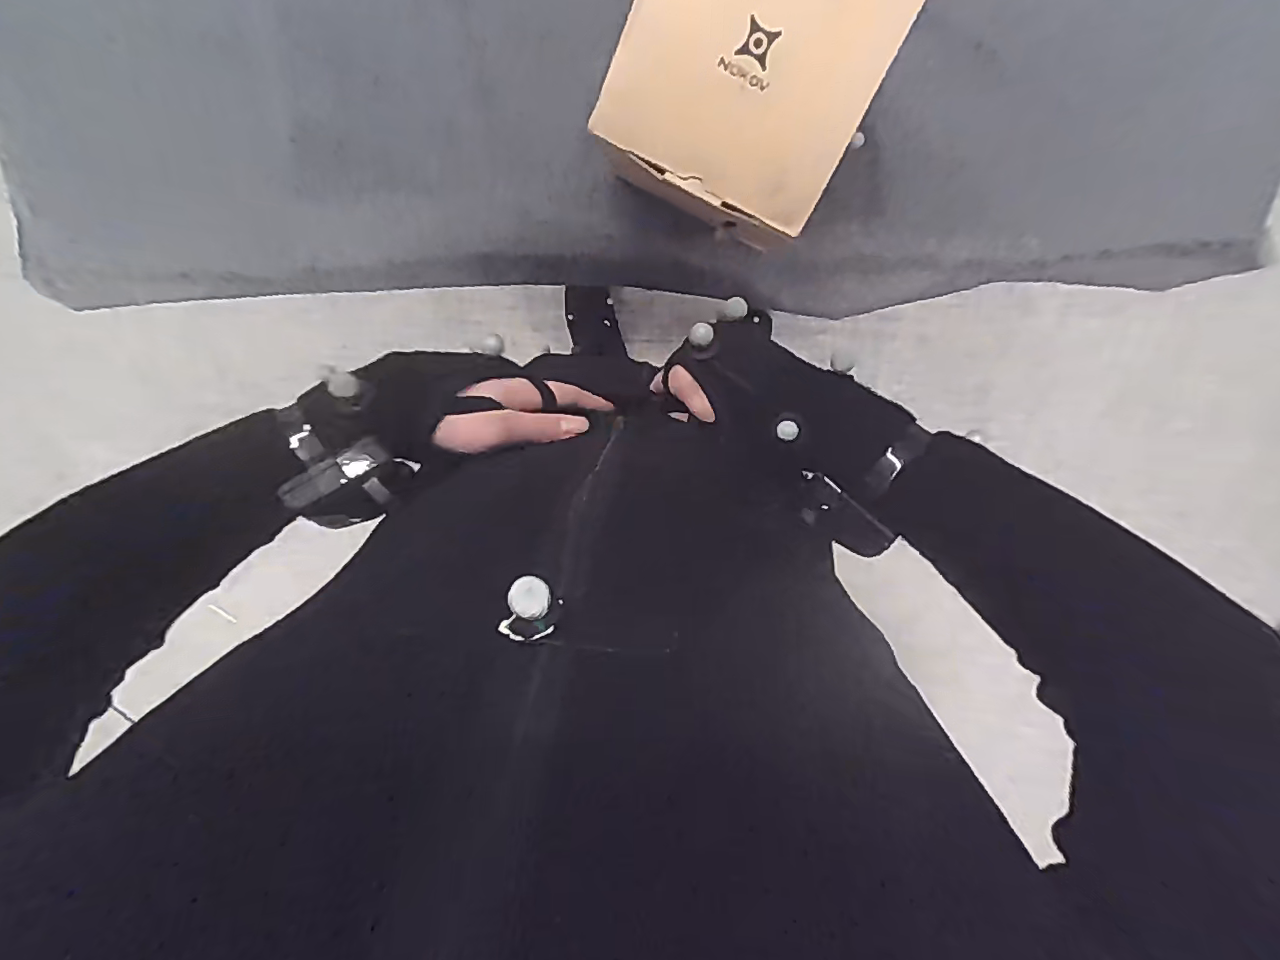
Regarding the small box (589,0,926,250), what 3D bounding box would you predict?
[{"bbox_3d":[0.078,-0.298,0.422,0.168,0.176,0.179,24,110,-6],"label":"small box"}]
